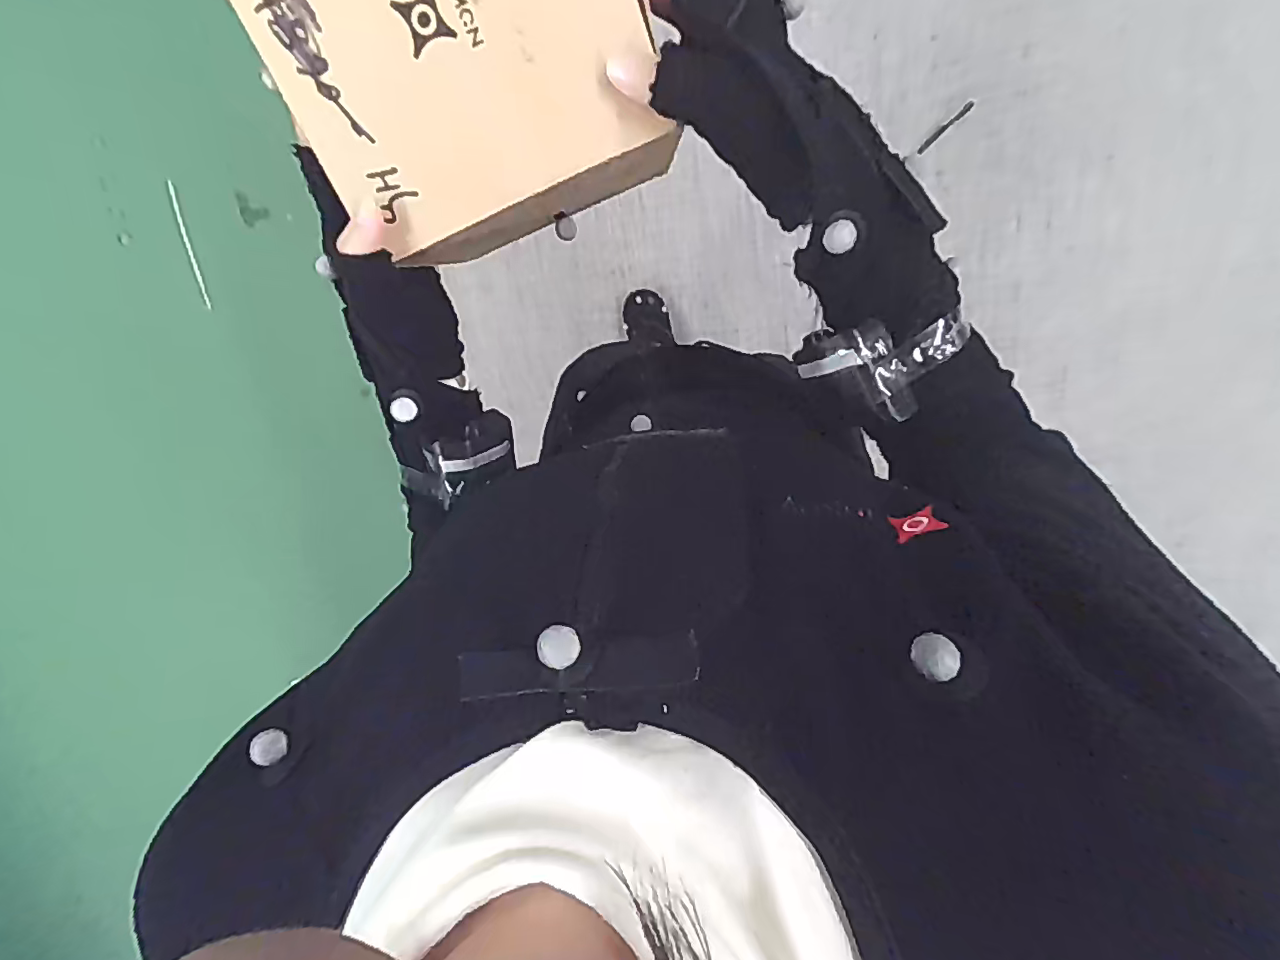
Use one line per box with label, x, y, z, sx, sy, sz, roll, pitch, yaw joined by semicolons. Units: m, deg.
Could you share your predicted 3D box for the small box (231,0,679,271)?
small box;-0.090;-0.245;0.326;0.179;0.176;0.168;-22;111;10
